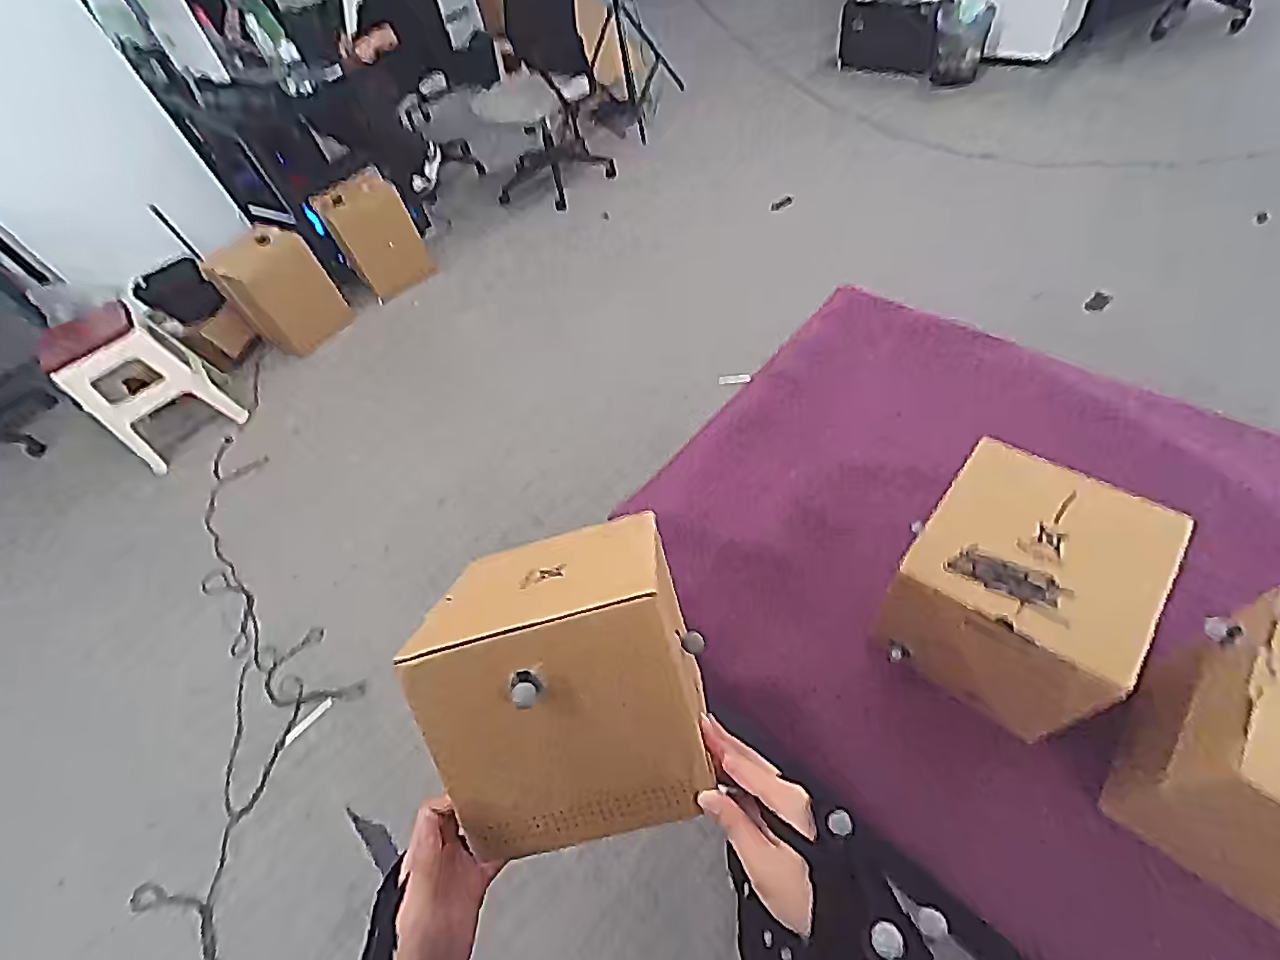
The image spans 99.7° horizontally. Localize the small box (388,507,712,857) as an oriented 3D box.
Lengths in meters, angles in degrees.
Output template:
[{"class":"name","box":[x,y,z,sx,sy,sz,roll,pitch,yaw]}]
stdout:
[{"class":"small box","box":[-0.049,0.144,0.421,0.179,0.176,0.168,-17,13,4]}]
